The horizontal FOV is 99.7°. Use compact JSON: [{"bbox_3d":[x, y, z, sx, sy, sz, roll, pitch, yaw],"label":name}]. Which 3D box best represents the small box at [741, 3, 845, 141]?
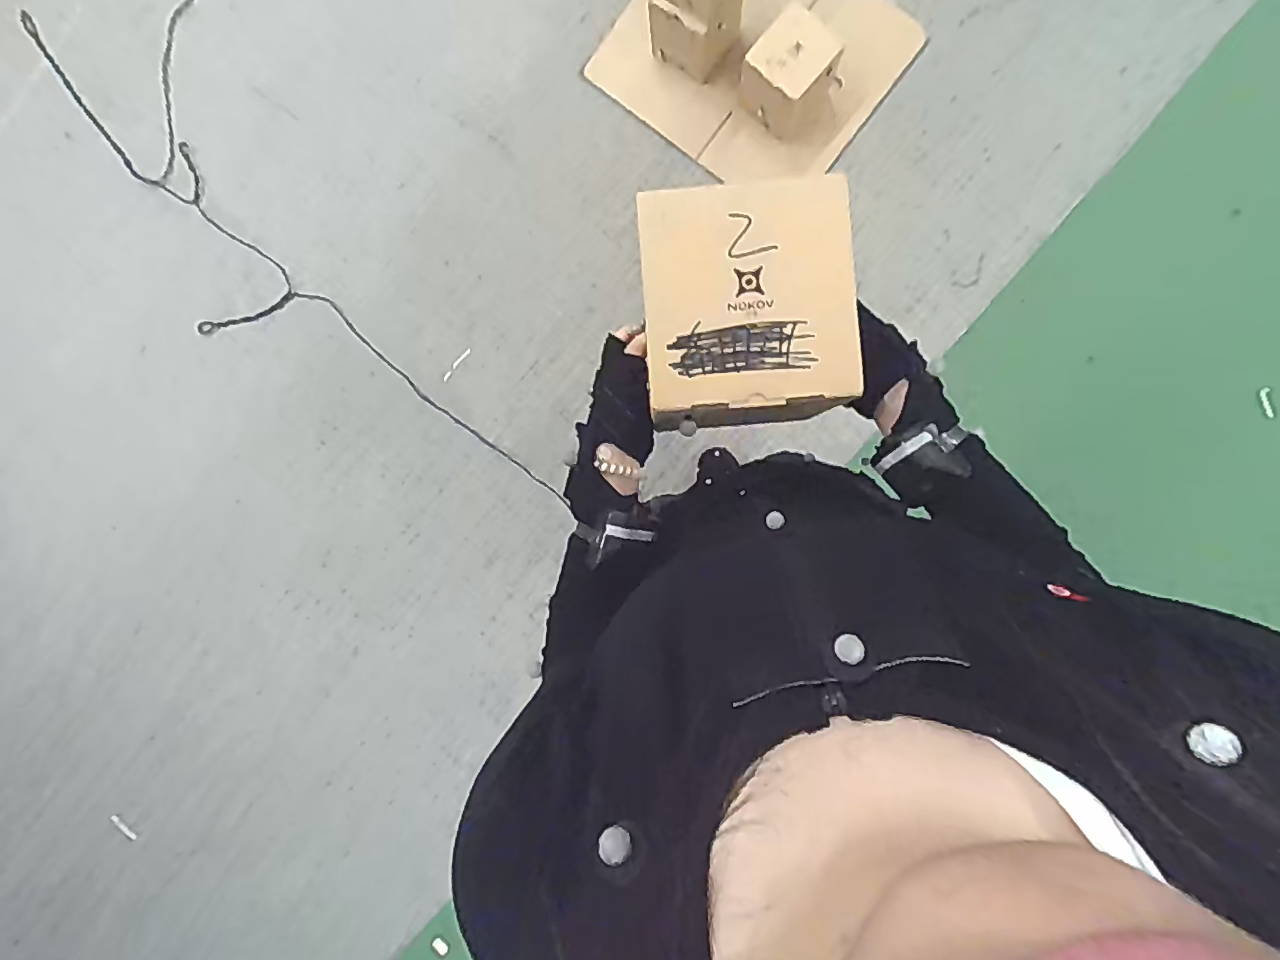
[{"bbox_3d":[0.370,-1.004,1.346,0.168,0.176,0.179,43,95,3],"label":"small box"}]

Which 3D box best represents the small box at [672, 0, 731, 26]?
[{"bbox_3d":[0.150,-1.179,1.192,0.168,0.176,0.179,39,94,2],"label":"small box"}]

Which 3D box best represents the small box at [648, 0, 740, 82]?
[{"bbox_3d":[0.141,-1.164,1.357,0.168,0.176,0.179,36,93,3],"label":"small box"}]
